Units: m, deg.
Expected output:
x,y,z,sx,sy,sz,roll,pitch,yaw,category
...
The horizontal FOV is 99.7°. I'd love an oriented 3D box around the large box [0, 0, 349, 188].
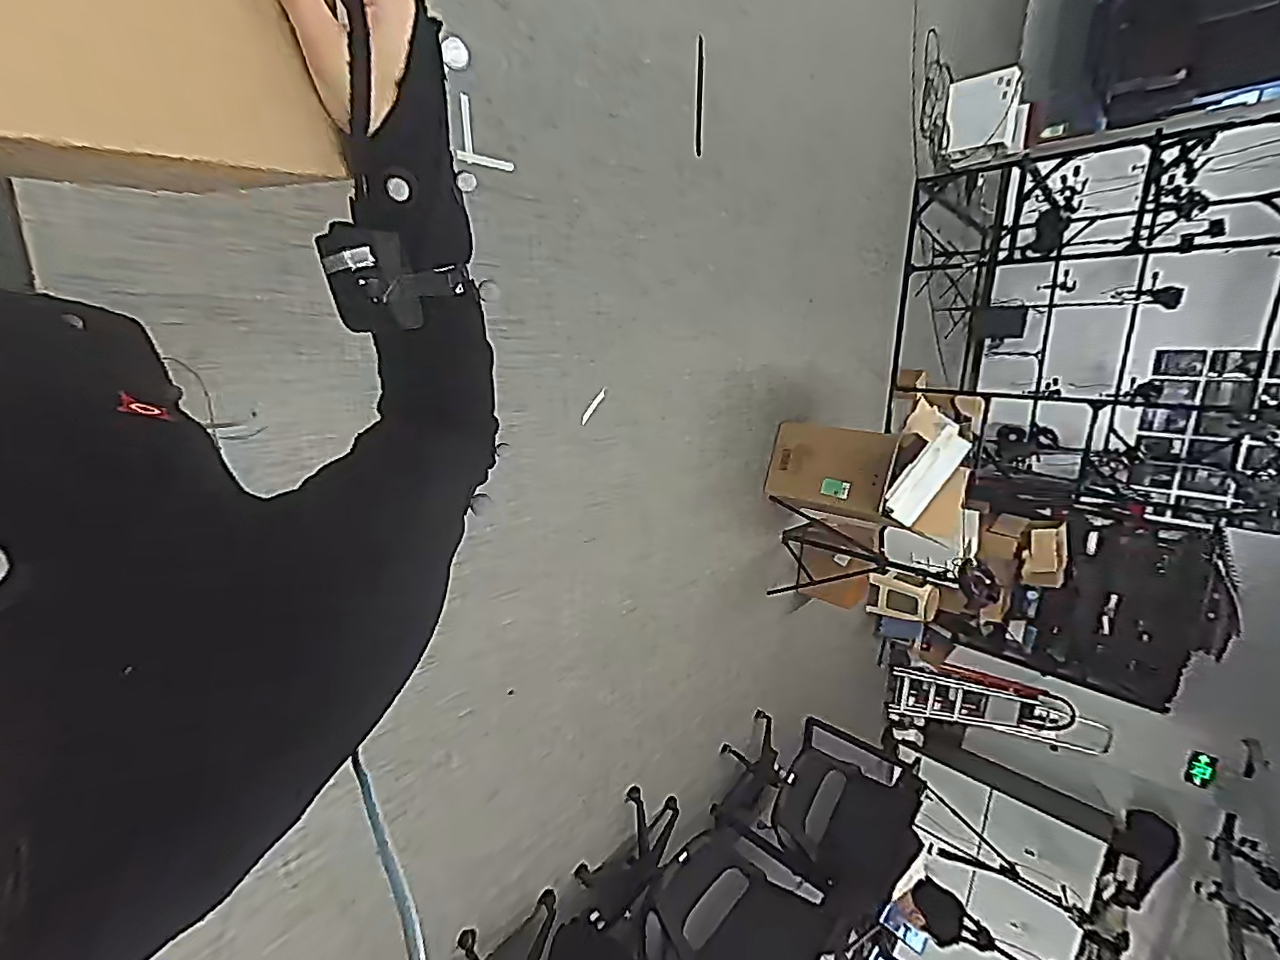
x,y,z,sx,sy,sz,roll,pitch,yaw,category
-0.413,-0.310,0.216,0.408,0.320,0.320,-23,126,-46,large box
